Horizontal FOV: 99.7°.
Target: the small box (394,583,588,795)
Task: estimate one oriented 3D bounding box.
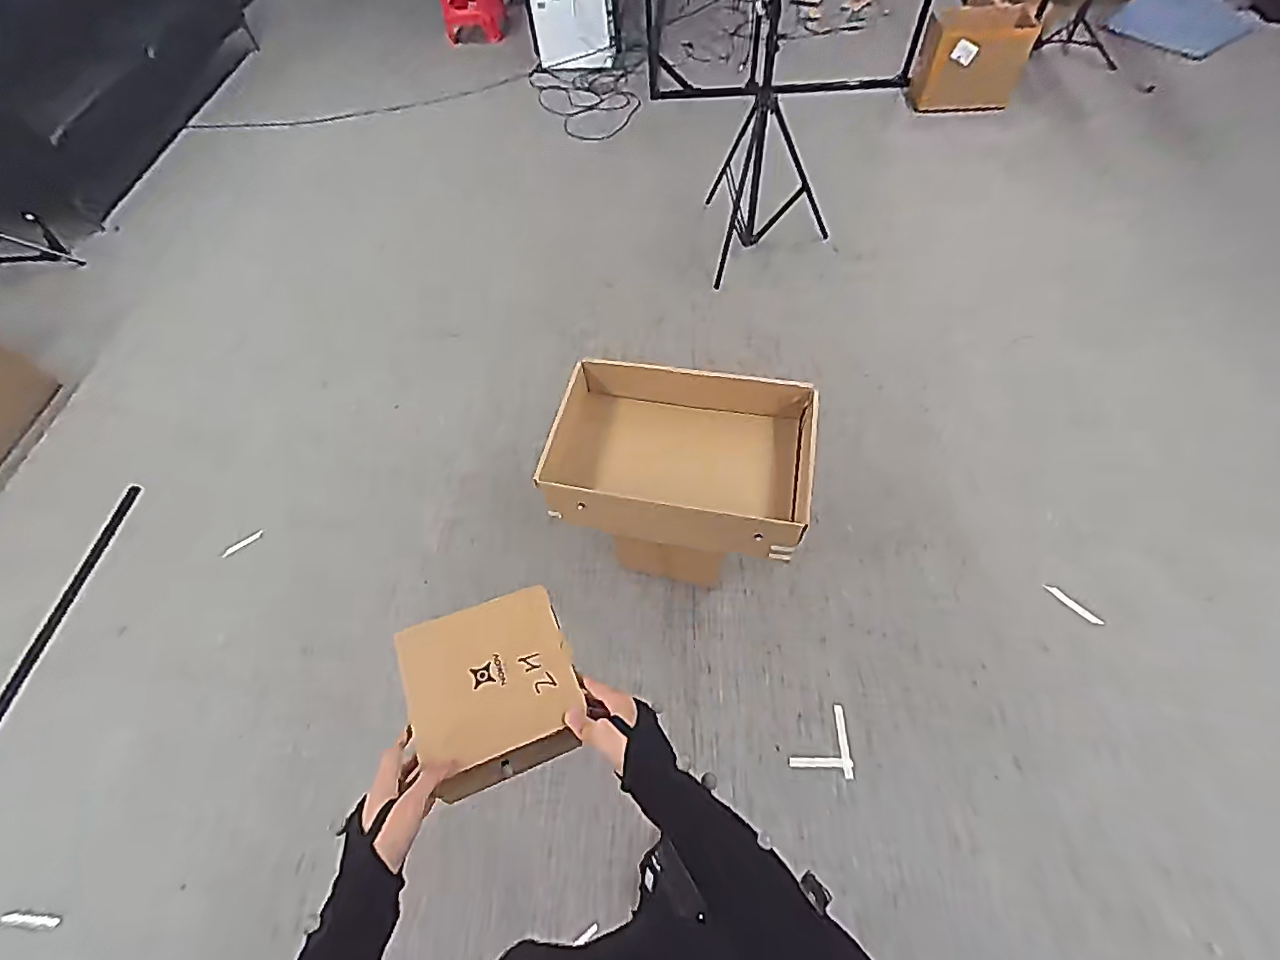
[{"bbox_3d":[-0.174,0.255,0.650,0.179,0.176,0.168,-15,59,-20],"label":"small box"}]
